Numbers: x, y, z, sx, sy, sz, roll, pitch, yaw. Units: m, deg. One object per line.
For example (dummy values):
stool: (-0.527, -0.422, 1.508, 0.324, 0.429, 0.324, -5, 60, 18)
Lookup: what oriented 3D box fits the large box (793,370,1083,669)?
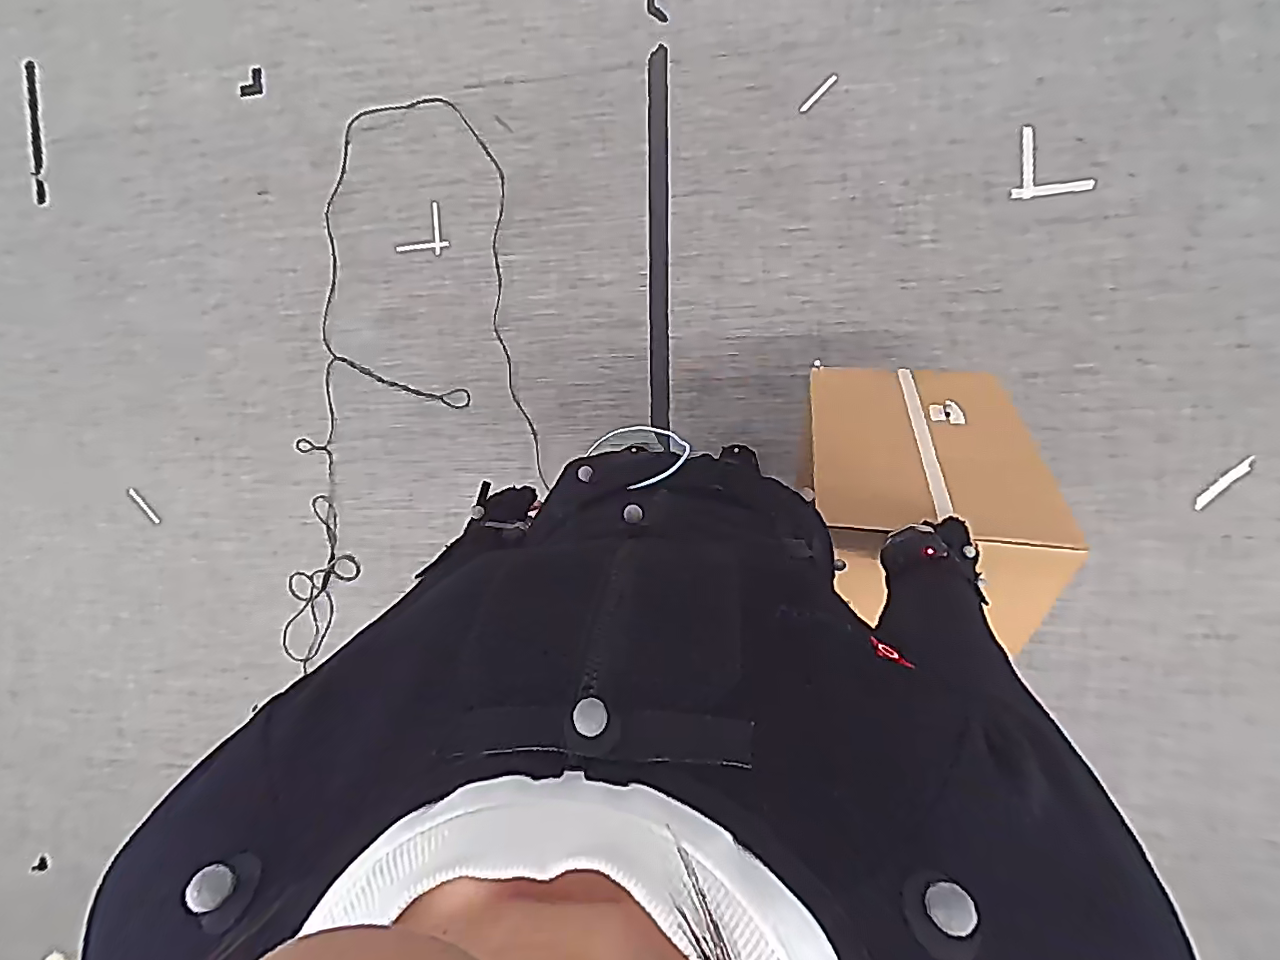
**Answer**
large box: (0.436, 0.052, 0.920, 0.320, 0.408, 0.320, 5, 132, 11)
